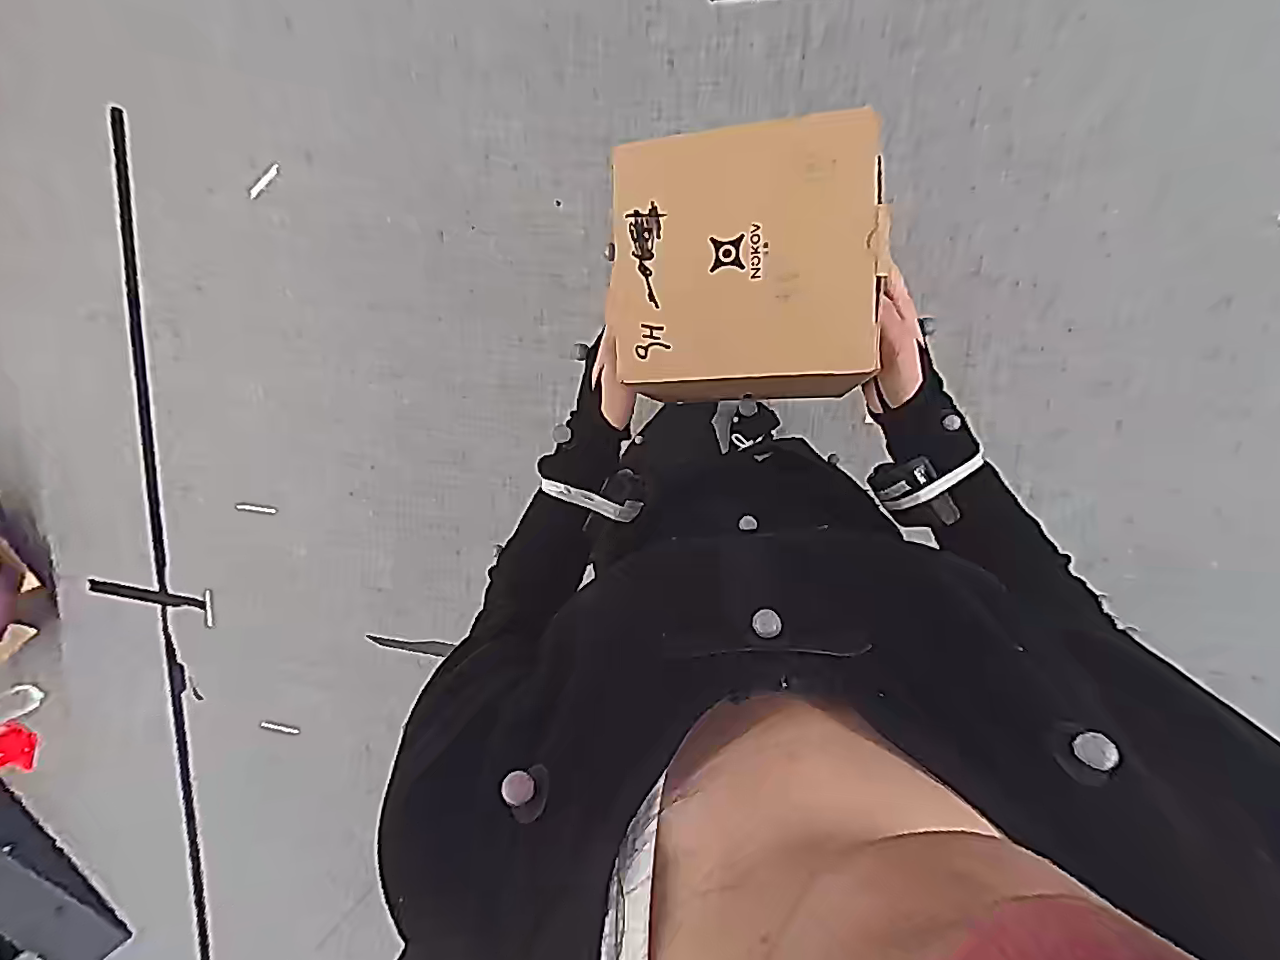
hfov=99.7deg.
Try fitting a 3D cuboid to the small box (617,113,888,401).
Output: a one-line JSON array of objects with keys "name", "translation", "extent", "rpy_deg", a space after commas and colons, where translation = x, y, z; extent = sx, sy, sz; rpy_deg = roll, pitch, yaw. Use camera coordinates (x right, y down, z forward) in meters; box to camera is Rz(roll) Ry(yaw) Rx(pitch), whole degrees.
[{"name": "small box", "translation": [0.085, -0.155, 0.437], "extent": [0.179, 0.176, 0.168], "rpy_deg": [1, 93, 12]}]
